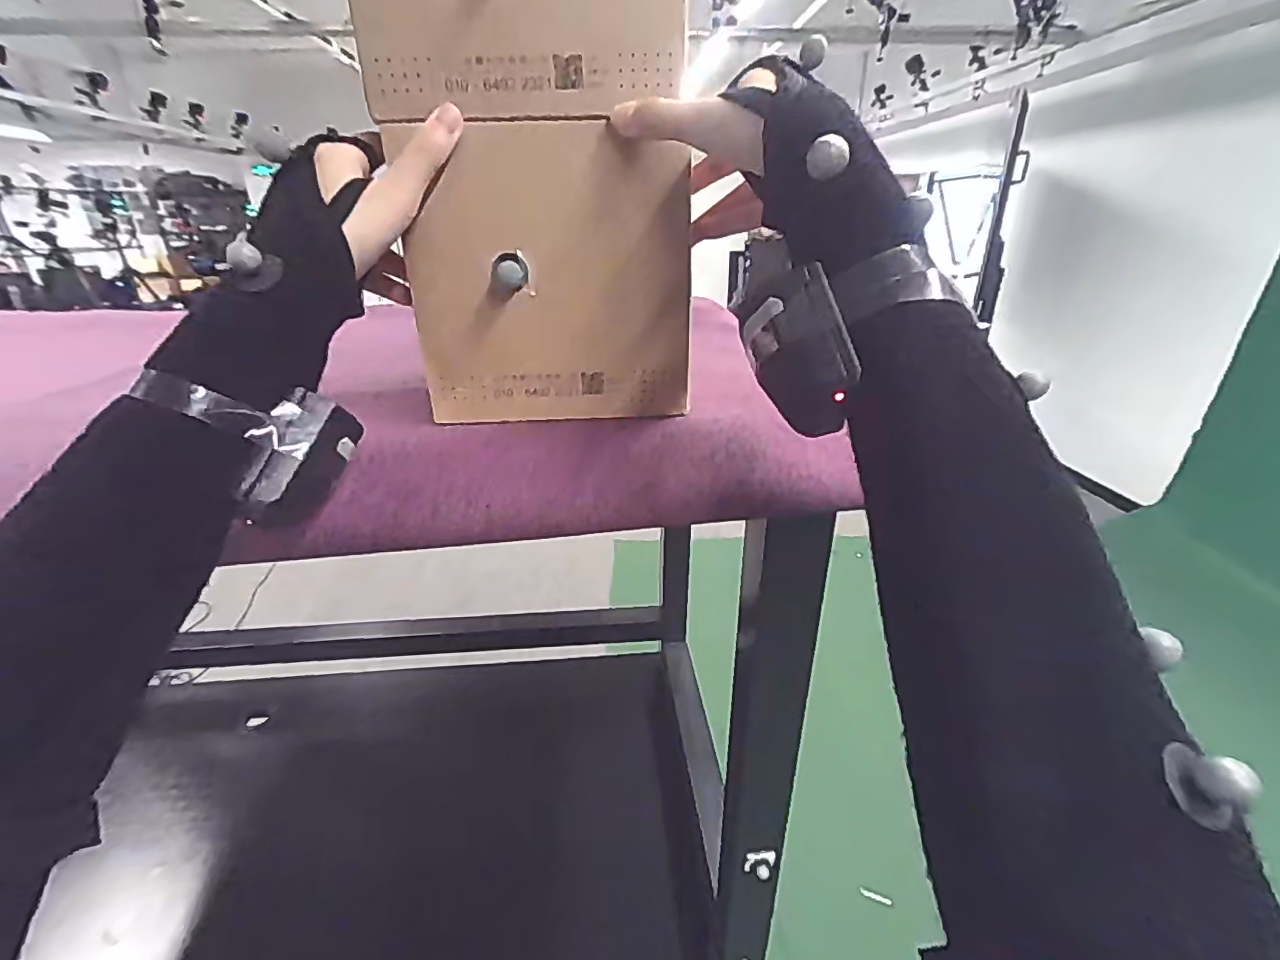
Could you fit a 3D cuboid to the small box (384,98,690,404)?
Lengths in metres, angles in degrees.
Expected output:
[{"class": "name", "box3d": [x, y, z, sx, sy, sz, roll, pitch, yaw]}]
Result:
[{"class": "small box", "box3d": [-0.053, -0.155, 0.391, 0.168, 0.176, 0.179, -2, 24, -2]}]

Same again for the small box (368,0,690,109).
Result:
[{"class": "small box", "box3d": [-0.058, -0.304, 0.323, 0.168, 0.176, 0.179, -1, 25, -1]}]
